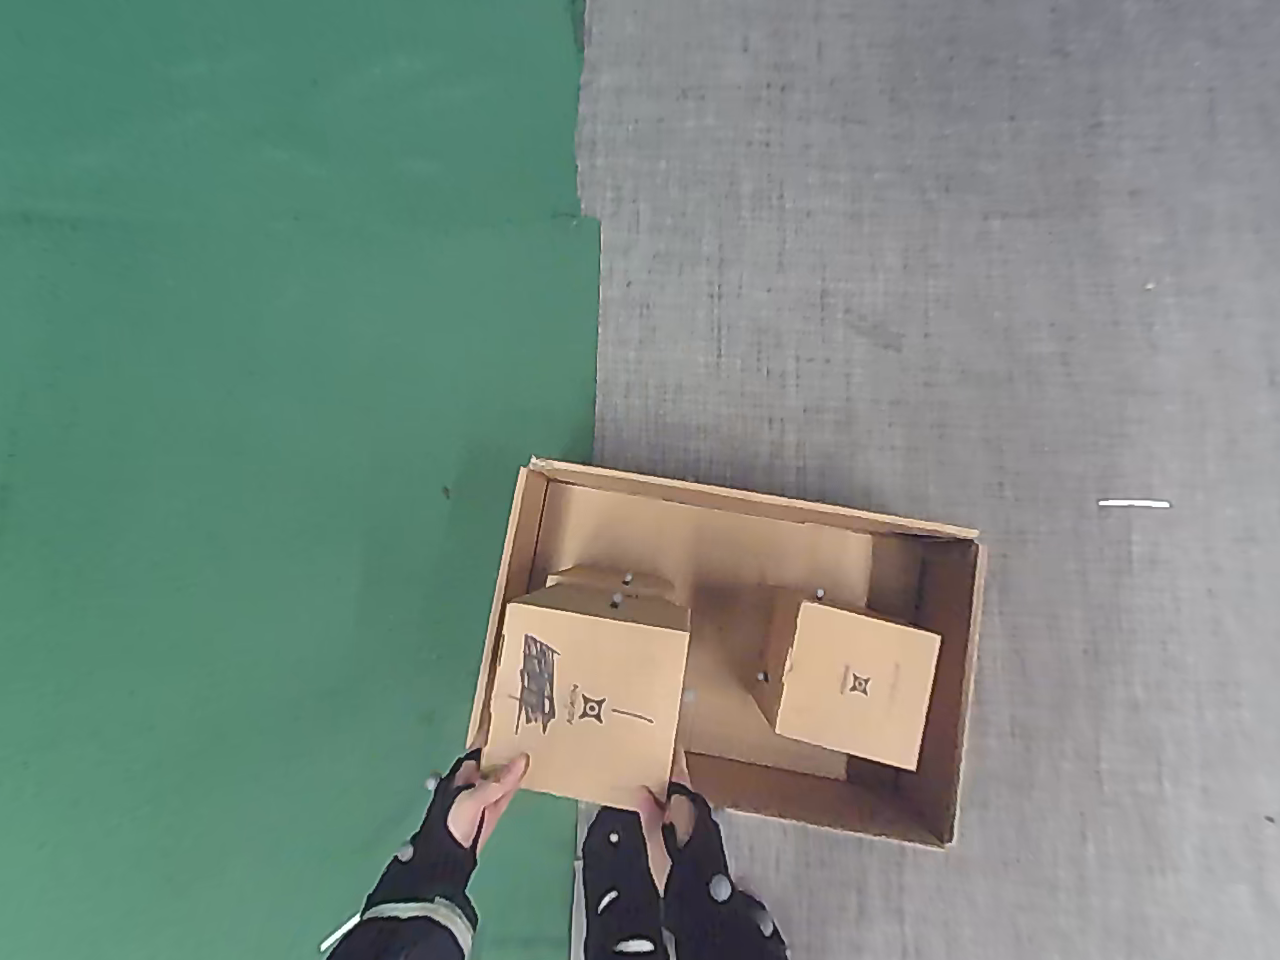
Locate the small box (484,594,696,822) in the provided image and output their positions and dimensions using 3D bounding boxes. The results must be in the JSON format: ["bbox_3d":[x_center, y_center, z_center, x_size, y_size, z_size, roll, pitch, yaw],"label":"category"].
[{"bbox_3d":[-0.040,0.220,0.575,0.179,0.176,0.168,9,85,5],"label":"small box"}]
